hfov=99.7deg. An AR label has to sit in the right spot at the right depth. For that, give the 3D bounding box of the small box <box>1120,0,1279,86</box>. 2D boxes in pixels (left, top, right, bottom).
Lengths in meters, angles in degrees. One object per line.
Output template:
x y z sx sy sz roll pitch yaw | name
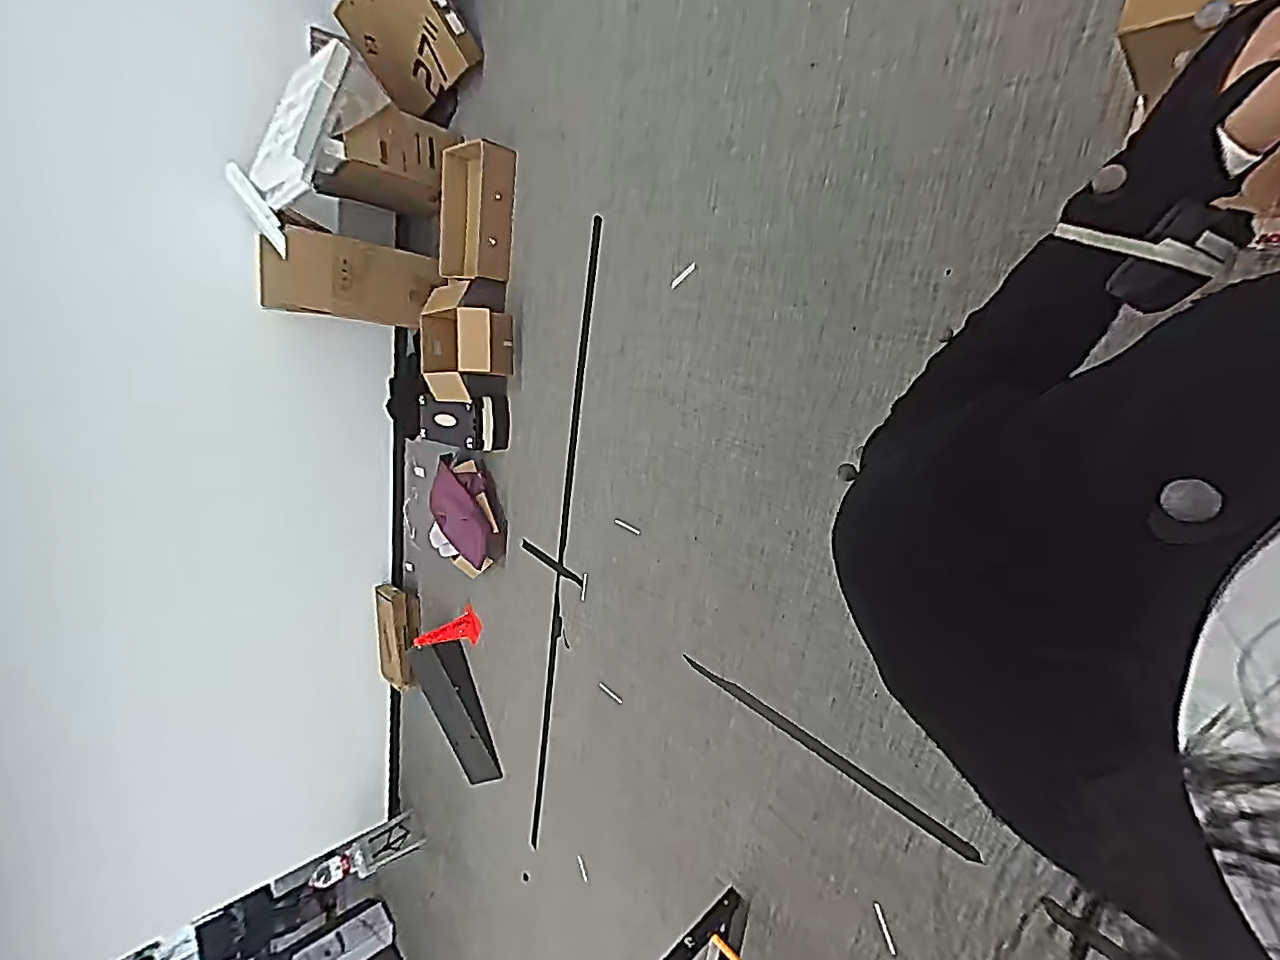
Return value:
0.578 -0.500 0.488 0.168 0.176 0.179 23 115 44 | small box

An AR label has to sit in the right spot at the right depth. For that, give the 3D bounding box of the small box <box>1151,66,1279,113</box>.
0.695 -0.543 0.595 0.168 0.176 0.179 23 114 43 | small box
